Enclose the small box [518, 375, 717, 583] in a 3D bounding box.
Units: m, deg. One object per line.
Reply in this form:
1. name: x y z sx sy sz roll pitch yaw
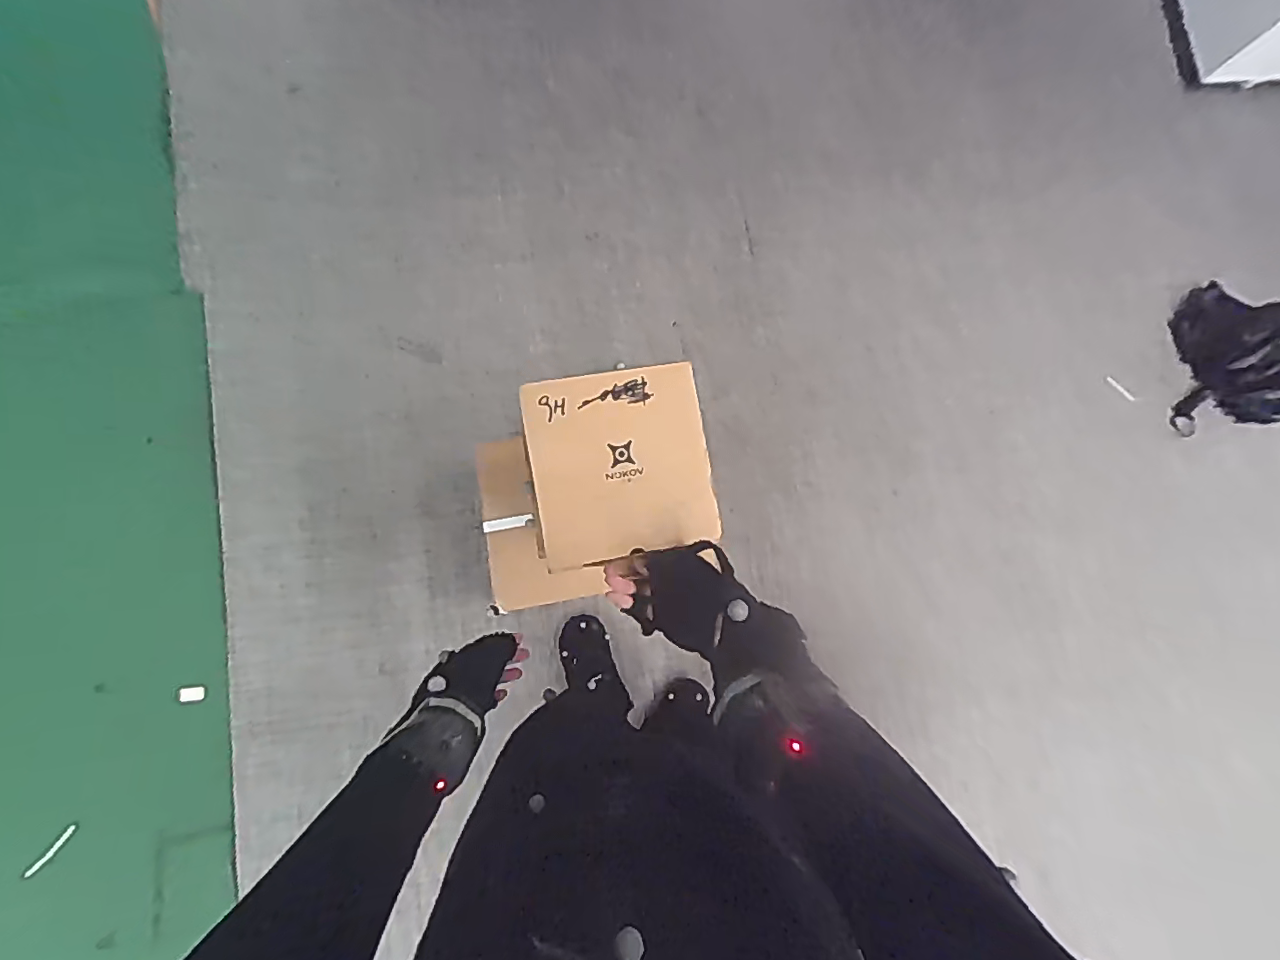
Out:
1. small box: -0.030 0.000 0.584 0.168 0.176 0.179 -10 88 -9
